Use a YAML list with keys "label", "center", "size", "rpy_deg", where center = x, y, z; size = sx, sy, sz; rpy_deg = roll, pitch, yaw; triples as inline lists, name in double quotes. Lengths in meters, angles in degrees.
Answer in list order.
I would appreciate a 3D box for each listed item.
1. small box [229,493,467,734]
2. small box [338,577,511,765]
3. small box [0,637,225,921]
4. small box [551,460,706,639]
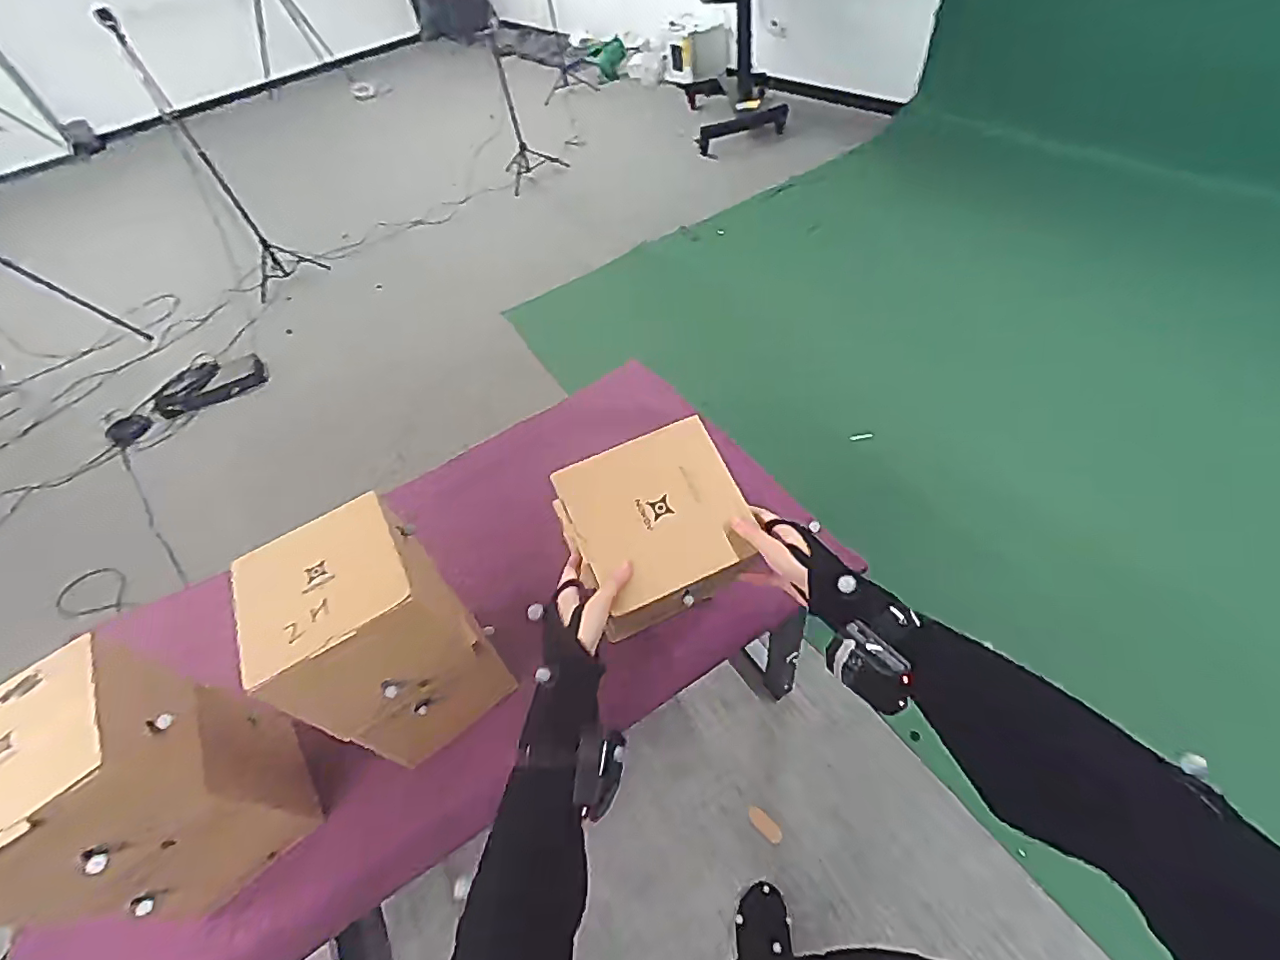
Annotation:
- label: "small box"
  center: [-0.326, 0.154, 0.620]
  size: [0.168, 0.176, 0.179]
  rpy_deg: [-30, 52, -14]
- label: "small box"
  center: [-0.309, 0.256, 0.748]
  size: [0.179, 0.176, 0.168]
  rpy_deg: [-36, 53, -19]
- label: "small box"
  center: [-0.565, 0.299, 0.543]
  size: [0.168, 0.176, 0.179]
  rpy_deg: [-36, 54, -19]
- label: "small box"
  center: [-0.011, 0.106, 0.813]
  size: [0.179, 0.176, 0.168]
  rpy_deg: [-24, 49, -7]
